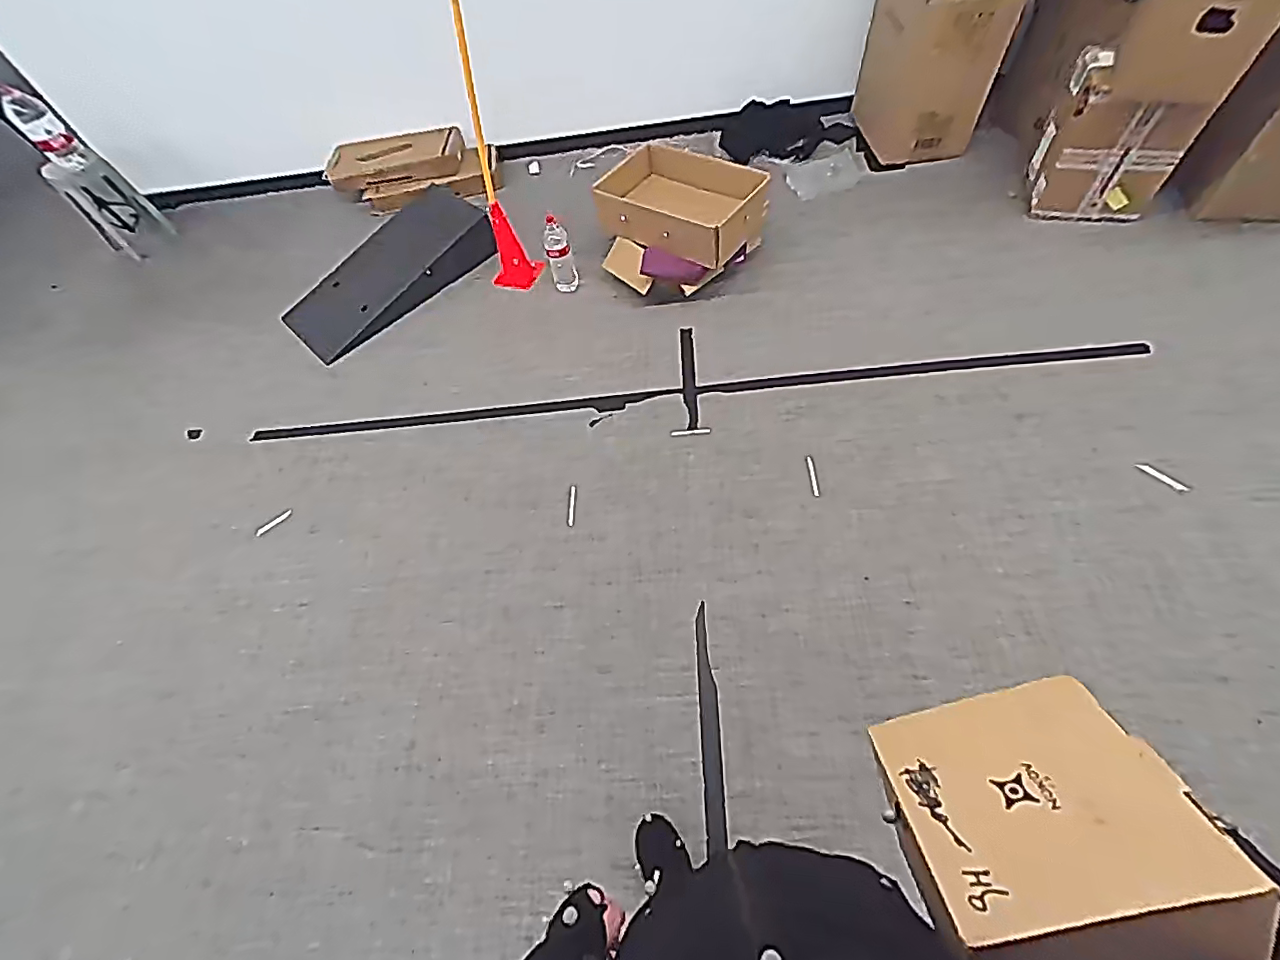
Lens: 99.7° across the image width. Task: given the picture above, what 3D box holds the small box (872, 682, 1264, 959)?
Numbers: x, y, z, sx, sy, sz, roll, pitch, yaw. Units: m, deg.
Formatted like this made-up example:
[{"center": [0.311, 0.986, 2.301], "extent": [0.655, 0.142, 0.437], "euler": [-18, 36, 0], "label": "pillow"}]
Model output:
[{"center": [0.313, 0.300, 0.432], "extent": [0.179, 0.176, 0.168], "euler": [-18, 22, 9], "label": "small box"}]
